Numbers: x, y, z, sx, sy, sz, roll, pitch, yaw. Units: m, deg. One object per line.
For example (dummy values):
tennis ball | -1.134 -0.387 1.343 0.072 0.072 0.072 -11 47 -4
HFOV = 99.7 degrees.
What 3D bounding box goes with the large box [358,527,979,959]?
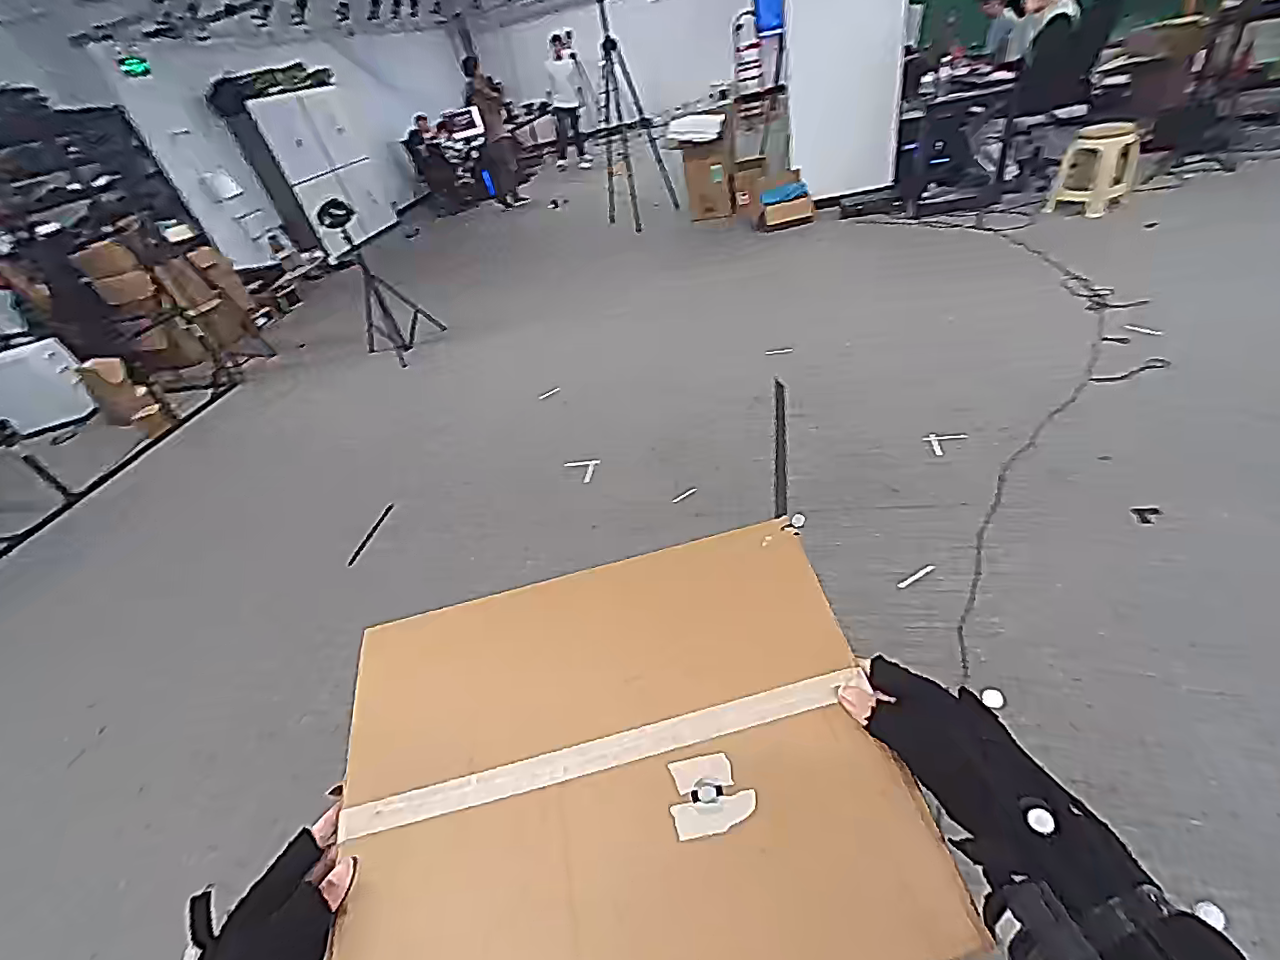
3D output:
large box | 0.006 0.301 0.531 0.408 0.320 0.320 -15 52 -1
